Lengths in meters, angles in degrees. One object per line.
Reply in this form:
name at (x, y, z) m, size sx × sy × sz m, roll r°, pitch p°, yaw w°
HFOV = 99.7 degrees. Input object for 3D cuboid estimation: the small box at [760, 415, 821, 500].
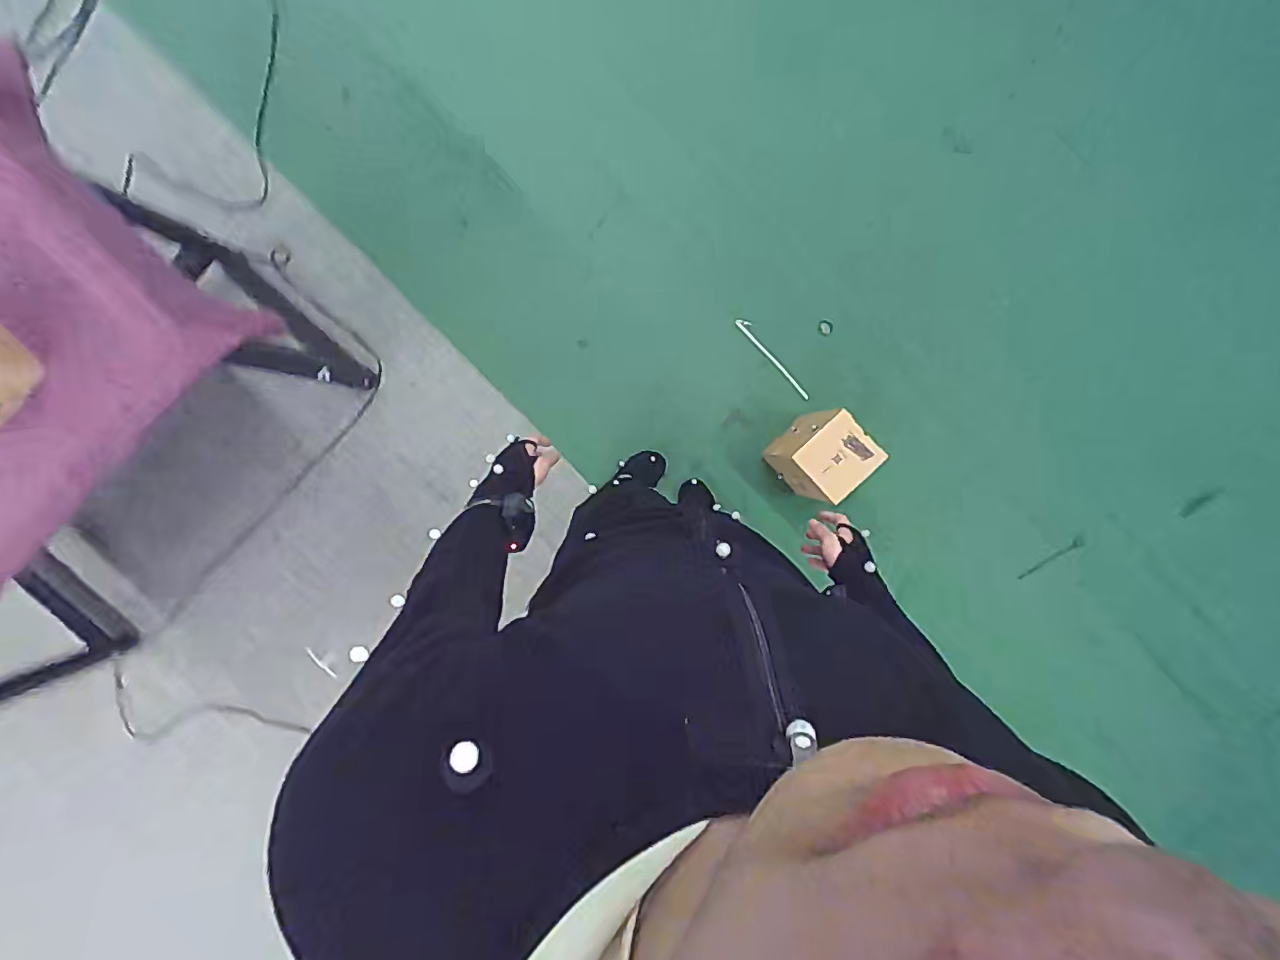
small box at (0.471, -0.067, 1.544) m, size 0.179 × 0.176 × 0.168 m, roll -43°, pitch 93°, yaw 2°

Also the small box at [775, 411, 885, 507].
small box at (0.475, -0.056, 1.380) m, size 0.179 × 0.176 × 0.168 m, roll -43°, pitch 93°, yaw 2°
